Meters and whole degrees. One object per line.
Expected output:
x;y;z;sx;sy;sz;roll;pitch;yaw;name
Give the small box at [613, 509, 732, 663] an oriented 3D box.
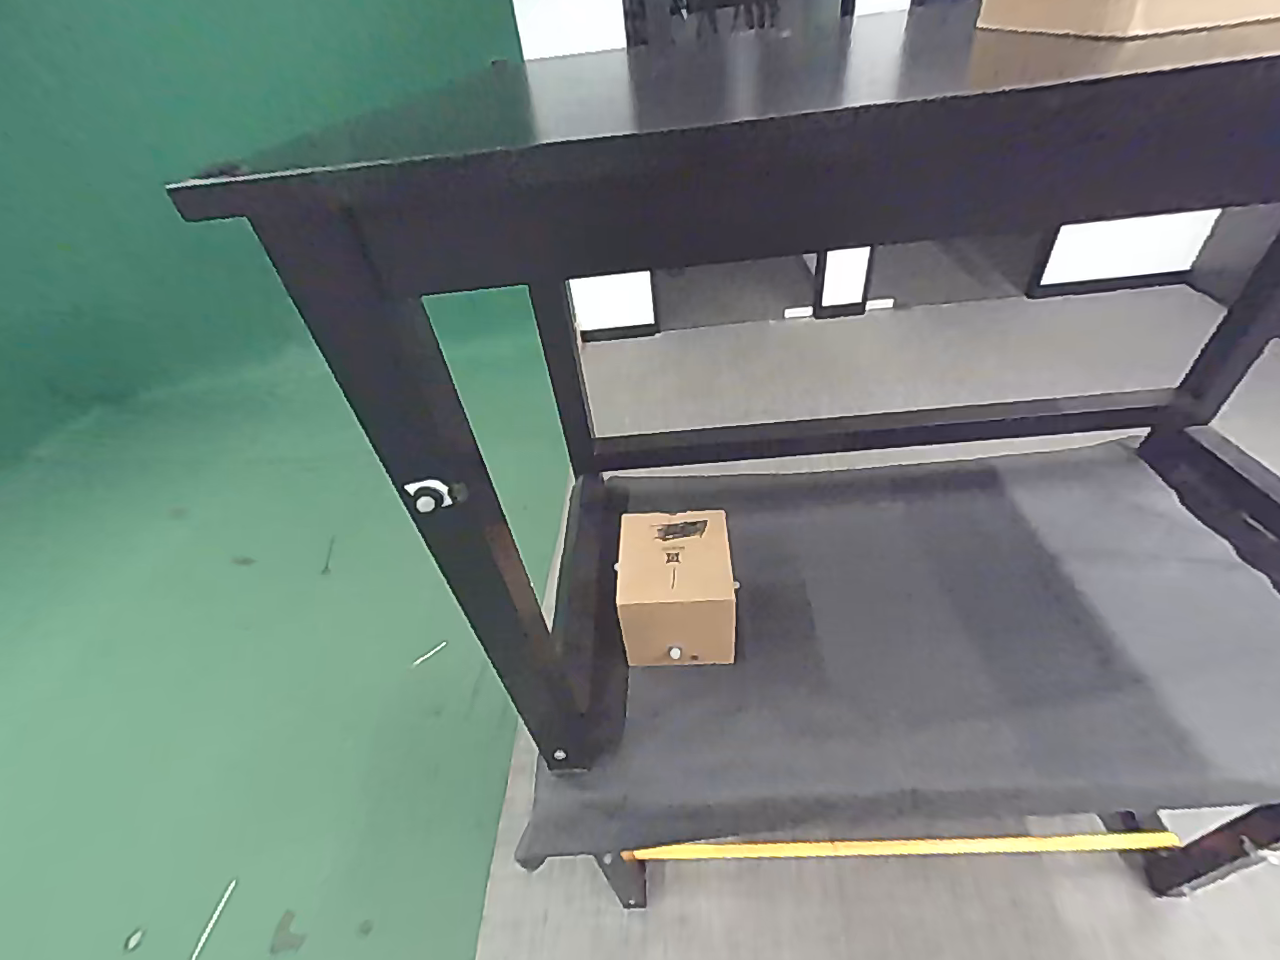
0.053;0.167;0.855;0.168;0.176;0.179;-3;42;5;small box
